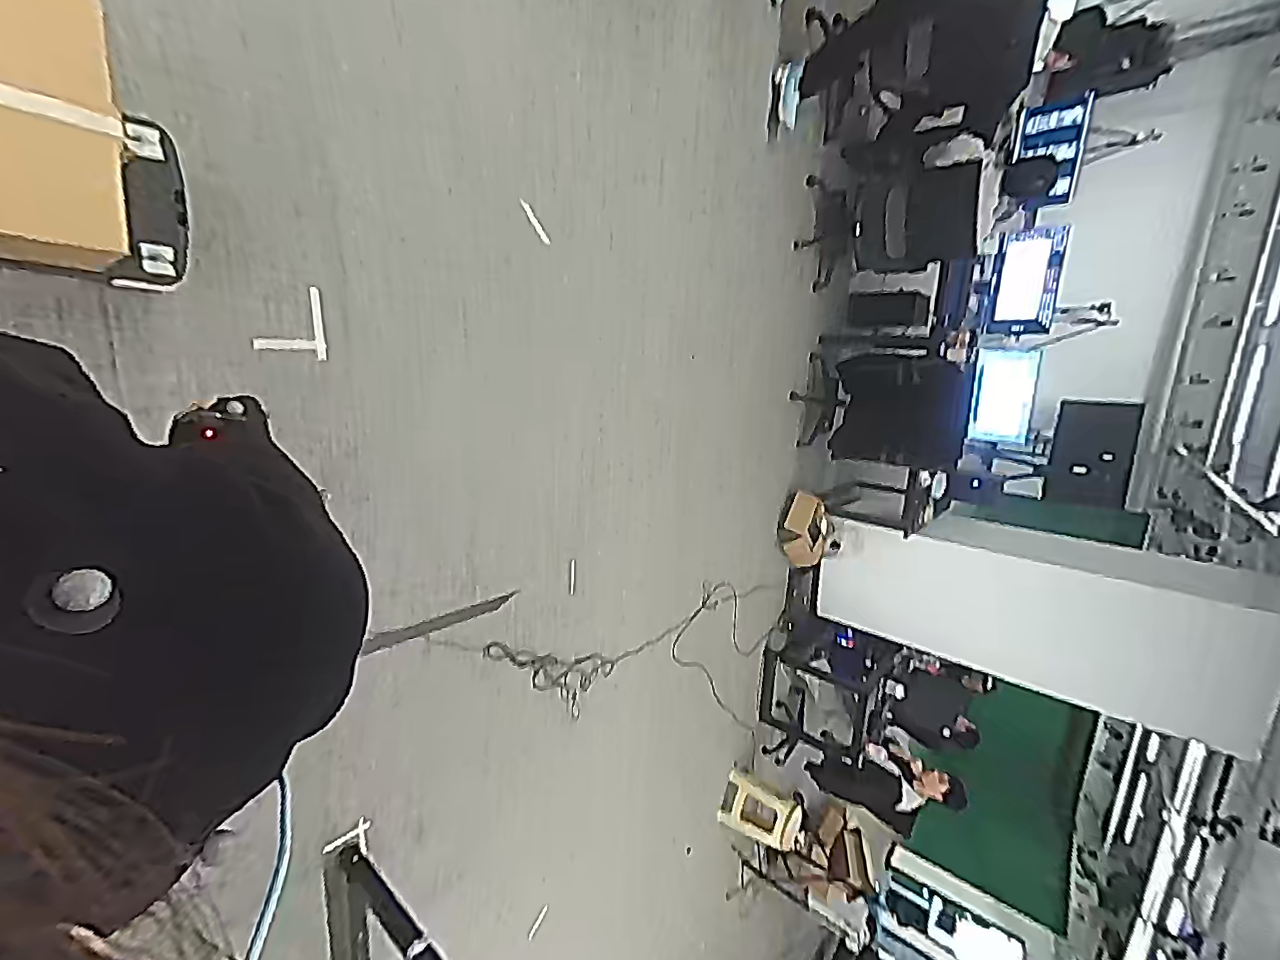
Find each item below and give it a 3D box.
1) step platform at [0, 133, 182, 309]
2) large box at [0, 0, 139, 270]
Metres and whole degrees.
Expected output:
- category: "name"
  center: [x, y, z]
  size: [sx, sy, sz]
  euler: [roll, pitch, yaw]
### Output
- category: "step platform"
  center: [-1.119, -0.466, 0.794]
  size: [0.684, 0.204, 0.286]
  euler: [-1, 100, -49]
- category: "large box"
  center: [-0.918, -0.456, 0.660]
  size: [0.408, 0.320, 0.320]
  euler: [-8, 105, -48]
